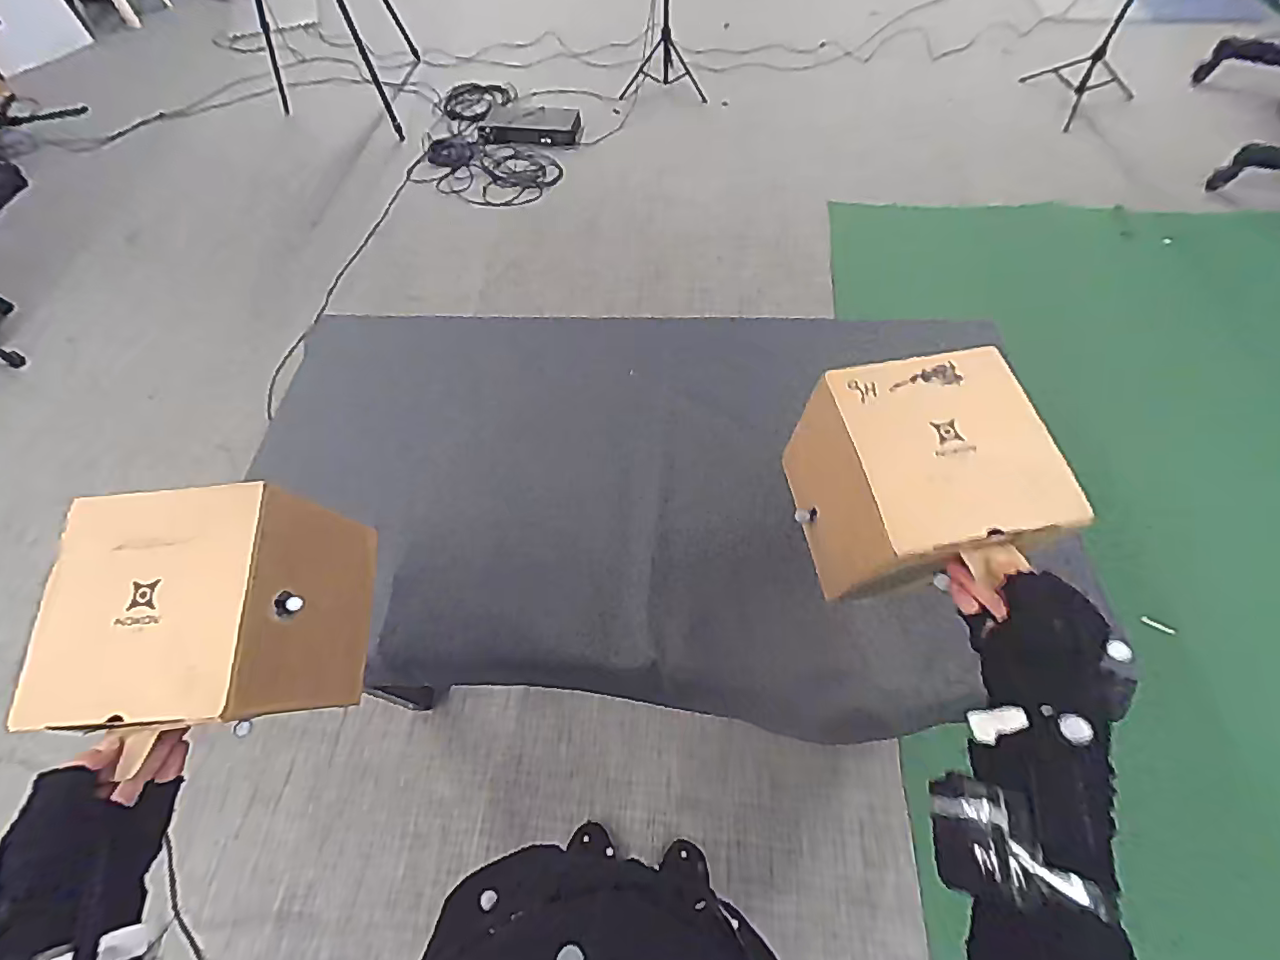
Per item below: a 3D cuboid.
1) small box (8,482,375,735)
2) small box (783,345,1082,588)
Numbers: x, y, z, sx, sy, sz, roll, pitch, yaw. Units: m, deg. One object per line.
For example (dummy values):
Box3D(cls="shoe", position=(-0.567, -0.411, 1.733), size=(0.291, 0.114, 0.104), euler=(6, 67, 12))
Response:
Box3D(cls="small box", position=(-0.359, 0.114, 0.474), size=(0.168, 0.176, 0.179), euler=(-5, 70, 3))
Box3D(cls="small box", position=(0.255, -0.001, 0.526), size=(0.168, 0.176, 0.179), euler=(-9, 65, -4))
